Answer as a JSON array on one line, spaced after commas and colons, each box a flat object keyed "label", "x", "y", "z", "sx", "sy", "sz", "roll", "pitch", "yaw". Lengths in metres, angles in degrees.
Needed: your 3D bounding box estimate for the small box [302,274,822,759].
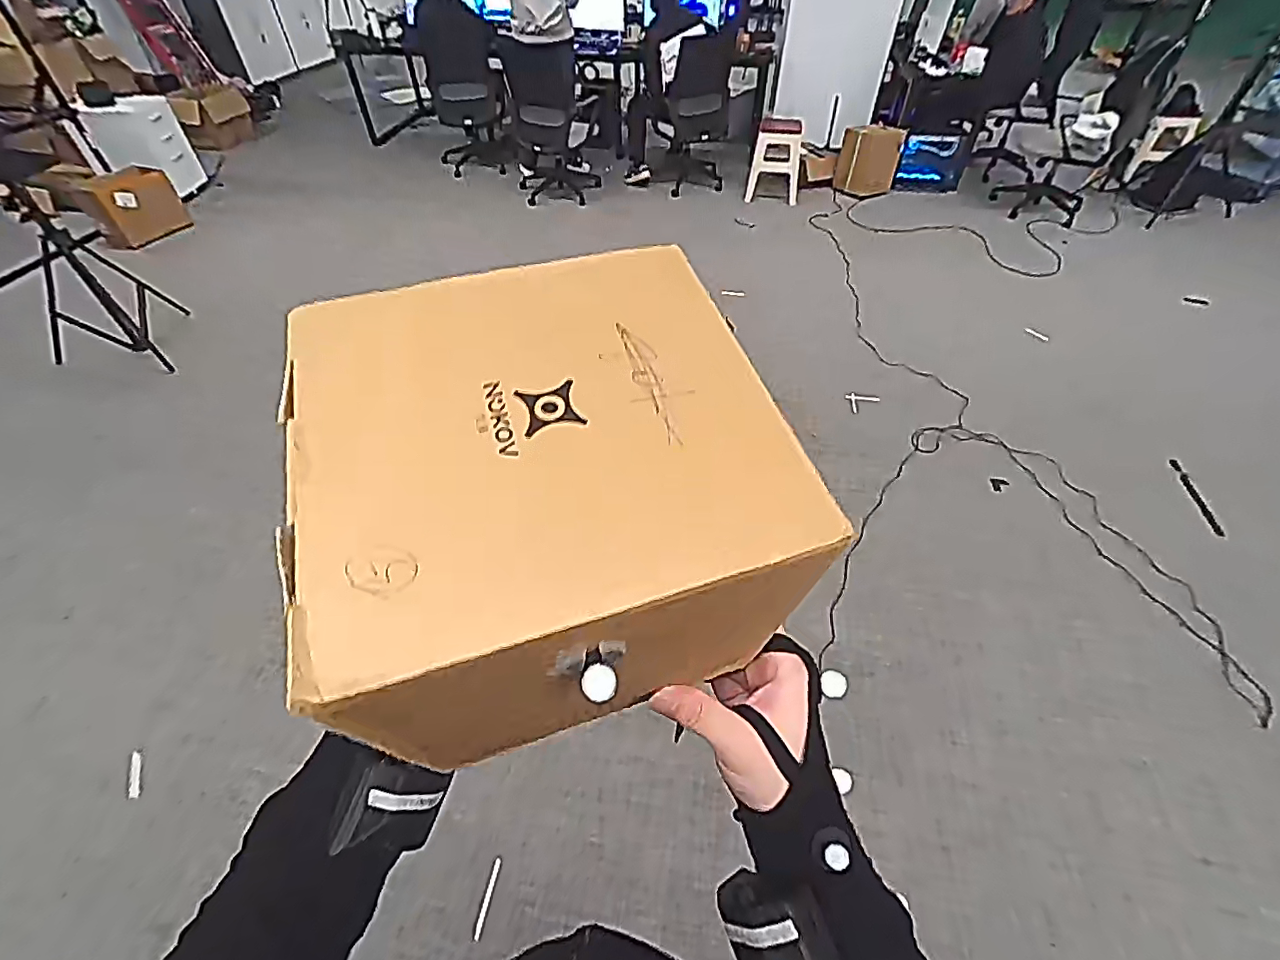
[{"label": "small box", "x": -0.043, "y": 0.026, "z": 0.281, "sx": 0.179, "sy": 0.176, "sz": 0.168, "roll": -15, "pitch": 60, "yaw": -13}]
